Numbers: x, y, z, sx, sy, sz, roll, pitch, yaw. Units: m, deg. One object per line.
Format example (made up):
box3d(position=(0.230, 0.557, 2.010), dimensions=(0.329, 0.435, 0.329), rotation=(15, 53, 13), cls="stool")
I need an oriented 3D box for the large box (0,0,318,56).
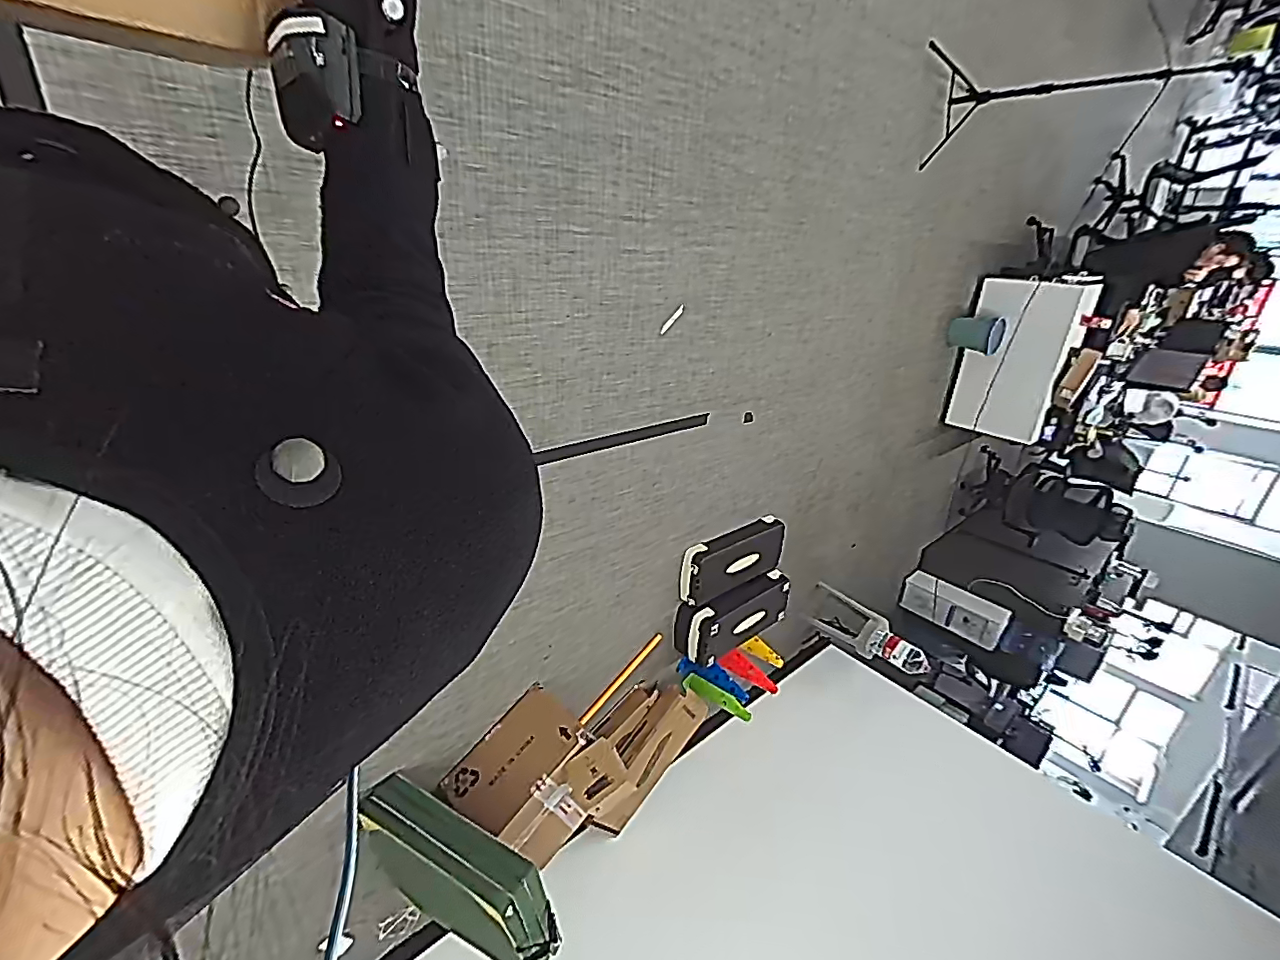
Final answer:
box3d(position=(-0.450, -0.450, 0.268), dimensions=(0.408, 0.320, 0.320), rotation=(-18, 131, -40), cls="large box")
